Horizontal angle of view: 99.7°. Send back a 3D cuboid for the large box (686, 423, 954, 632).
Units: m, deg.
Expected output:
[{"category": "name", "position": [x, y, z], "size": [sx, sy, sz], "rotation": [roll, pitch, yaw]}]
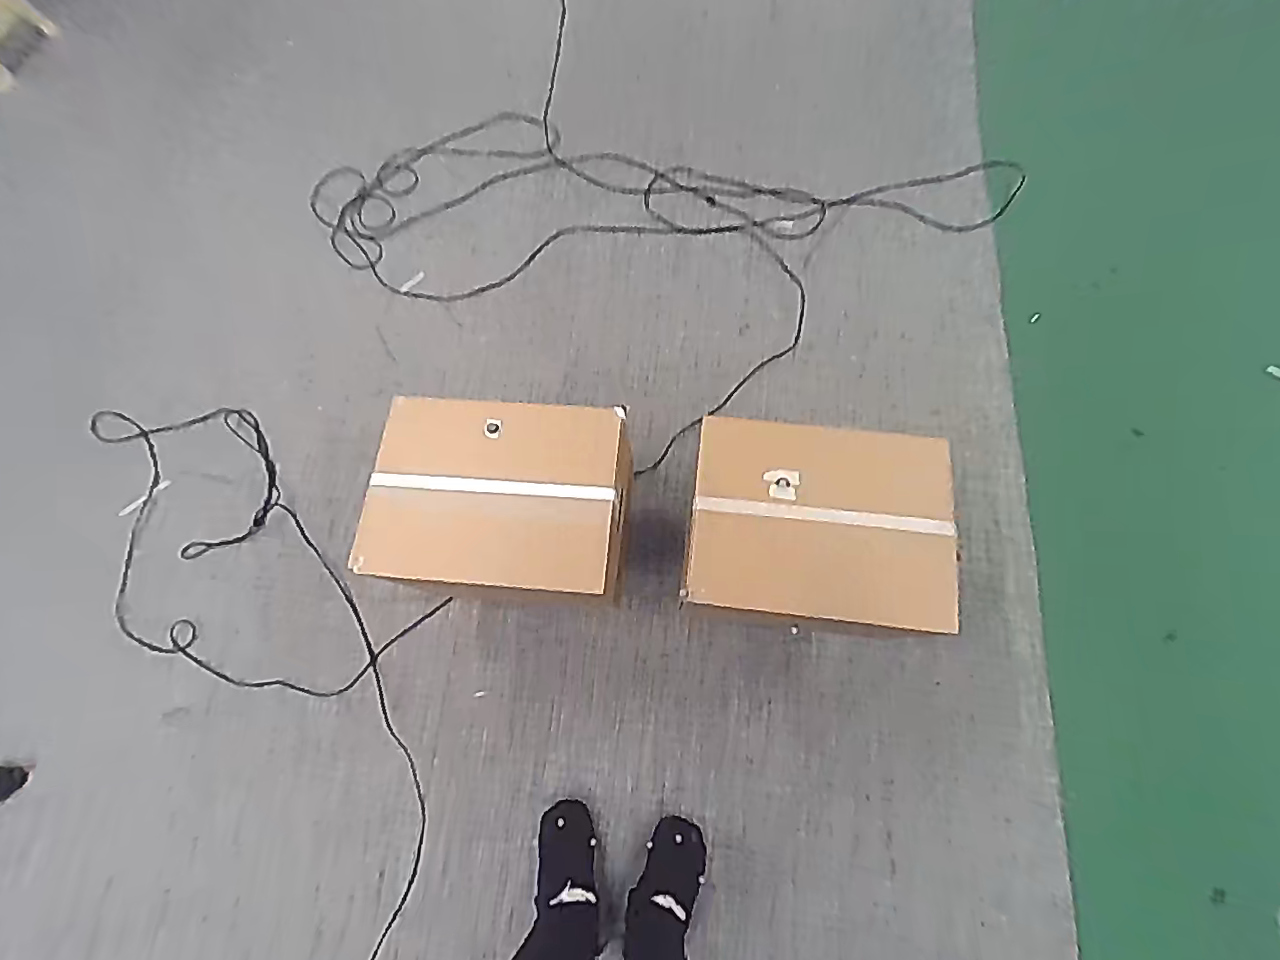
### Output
[{"category": "large box", "position": [0.303, 0.107, 1.010], "size": [0.408, 0.320, 0.320], "rotation": [6, 73, 5]}]
